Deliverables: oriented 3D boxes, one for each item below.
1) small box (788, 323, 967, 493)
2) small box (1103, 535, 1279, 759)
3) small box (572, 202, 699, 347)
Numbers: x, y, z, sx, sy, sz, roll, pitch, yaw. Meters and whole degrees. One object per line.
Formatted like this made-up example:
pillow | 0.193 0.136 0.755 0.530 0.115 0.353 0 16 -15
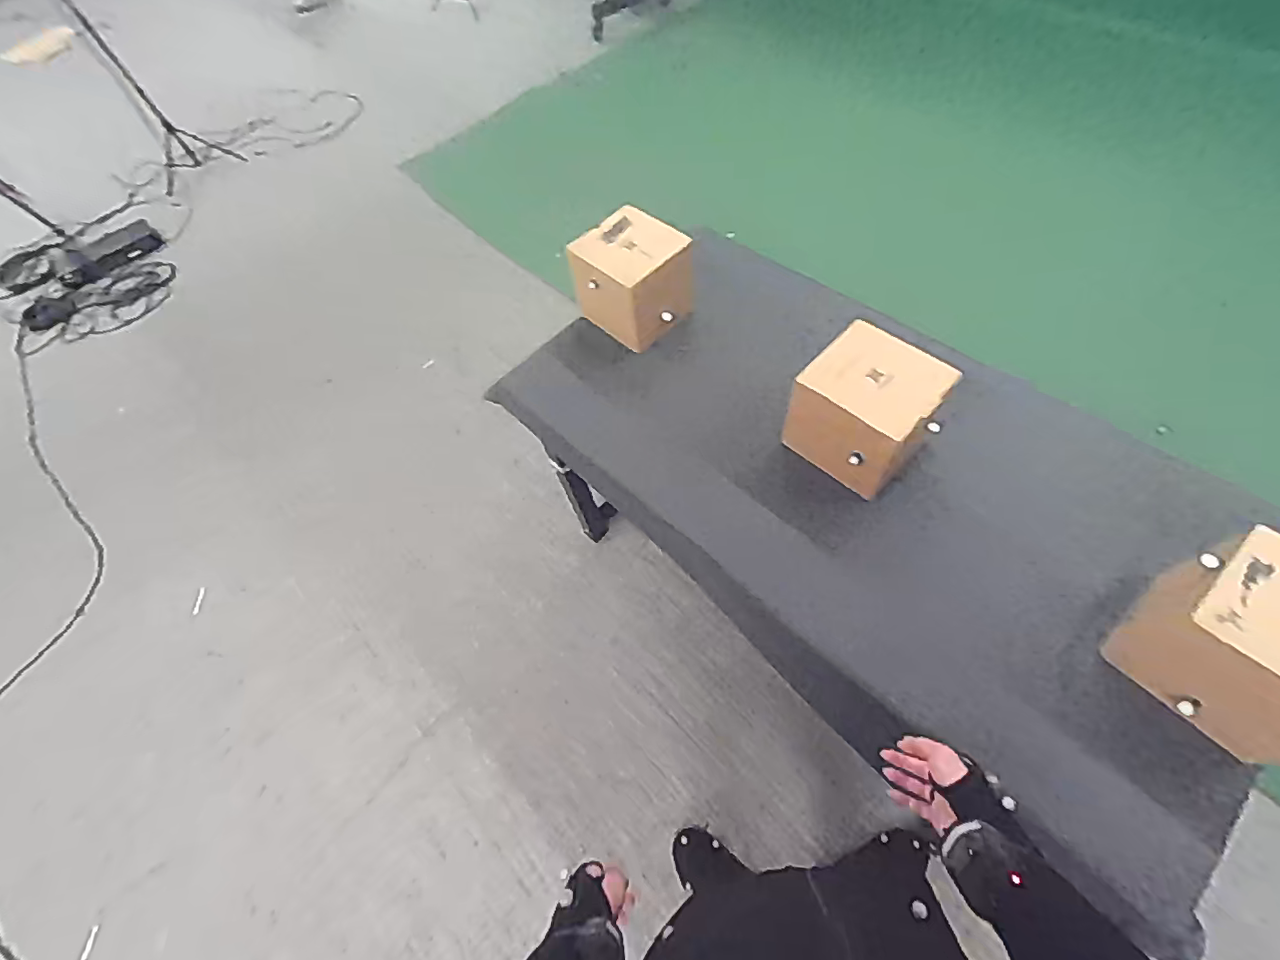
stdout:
small box | 0.359 -0.104 0.849 0.168 0.176 0.179 -42 63 -19
small box | 0.717 0.201 0.632 0.168 0.176 0.179 -38 64 -15
small box | -0.005 -0.393 1.048 0.168 0.176 0.179 -42 66 -17
